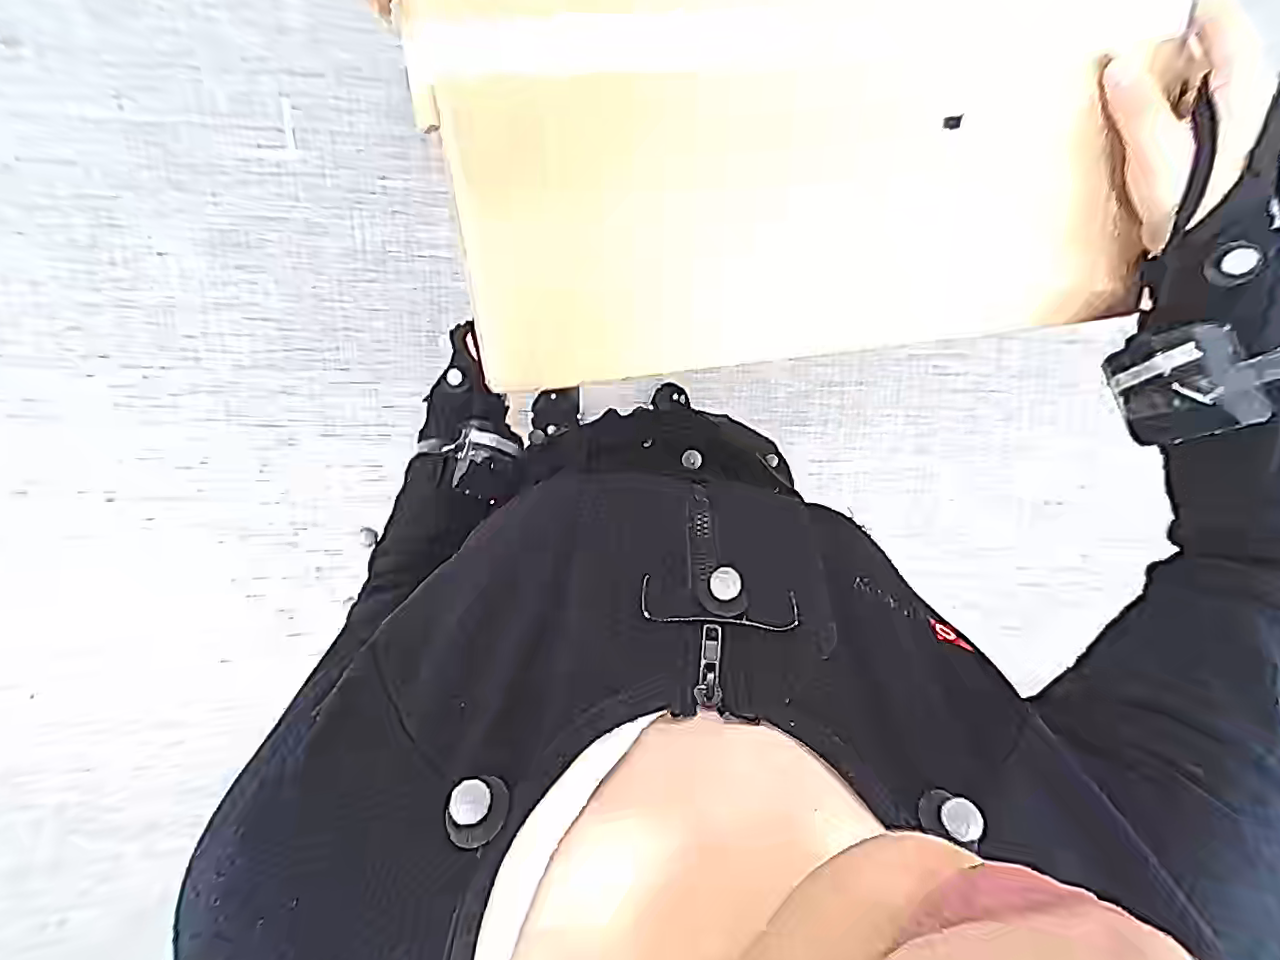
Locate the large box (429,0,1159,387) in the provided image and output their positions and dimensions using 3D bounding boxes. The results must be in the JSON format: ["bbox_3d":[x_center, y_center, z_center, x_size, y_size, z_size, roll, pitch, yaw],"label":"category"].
[{"bbox_3d":[0.071,-0.268,0.423,0.408,0.320,0.320,-9,108,-9],"label":"large box"}]
